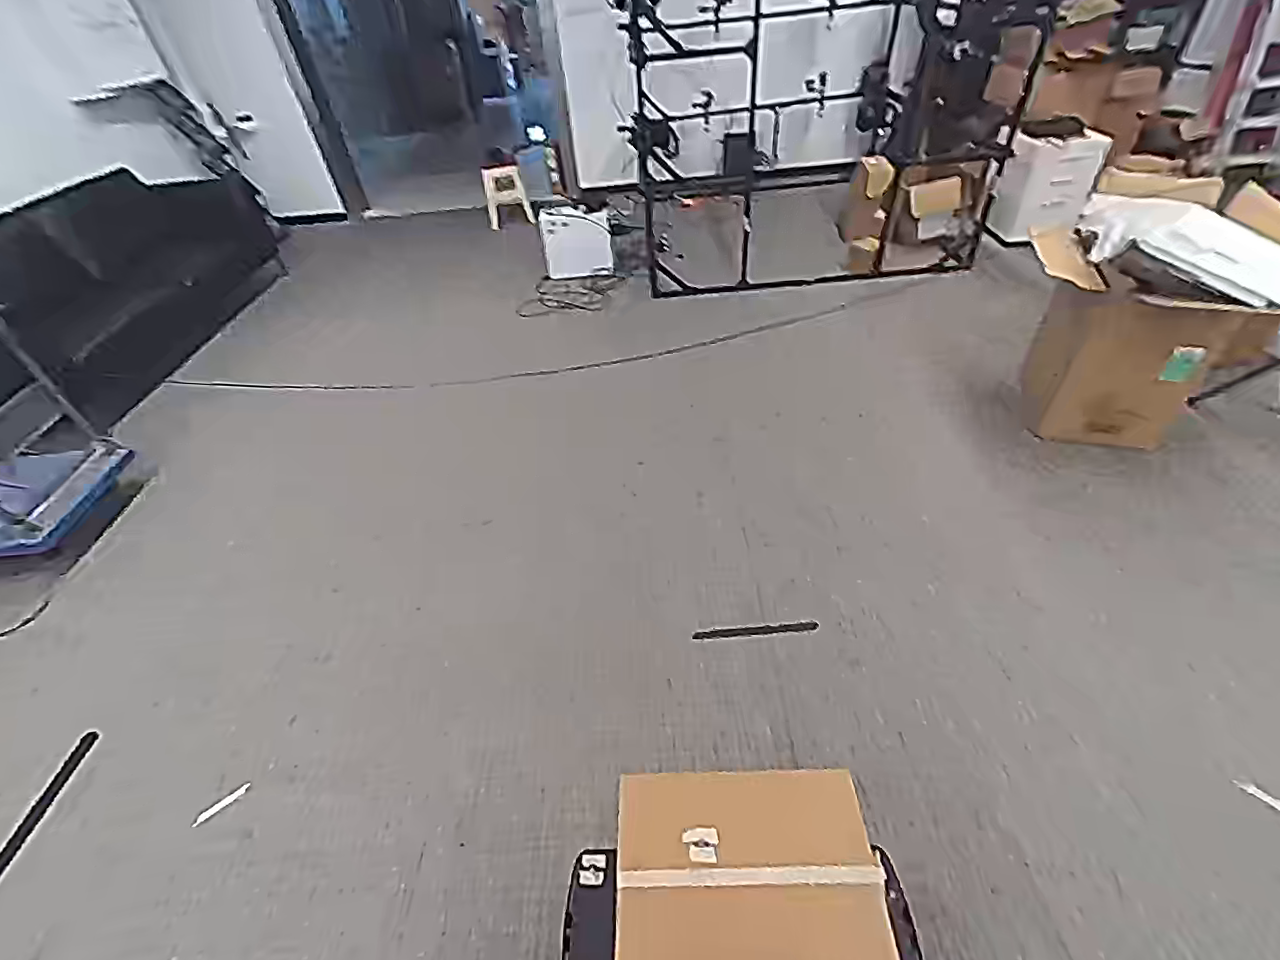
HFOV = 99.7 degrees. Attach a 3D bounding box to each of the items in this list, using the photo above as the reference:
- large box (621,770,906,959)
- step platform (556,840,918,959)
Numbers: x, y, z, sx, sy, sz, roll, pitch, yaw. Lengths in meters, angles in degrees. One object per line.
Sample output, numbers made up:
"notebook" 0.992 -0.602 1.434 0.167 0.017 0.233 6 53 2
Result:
"large box" 0.187 0.723 0.925 0.408 0.320 0.320 -4 42 4
"step platform" 0.180 0.918 1.068 0.684 0.204 0.286 -1 43 8
